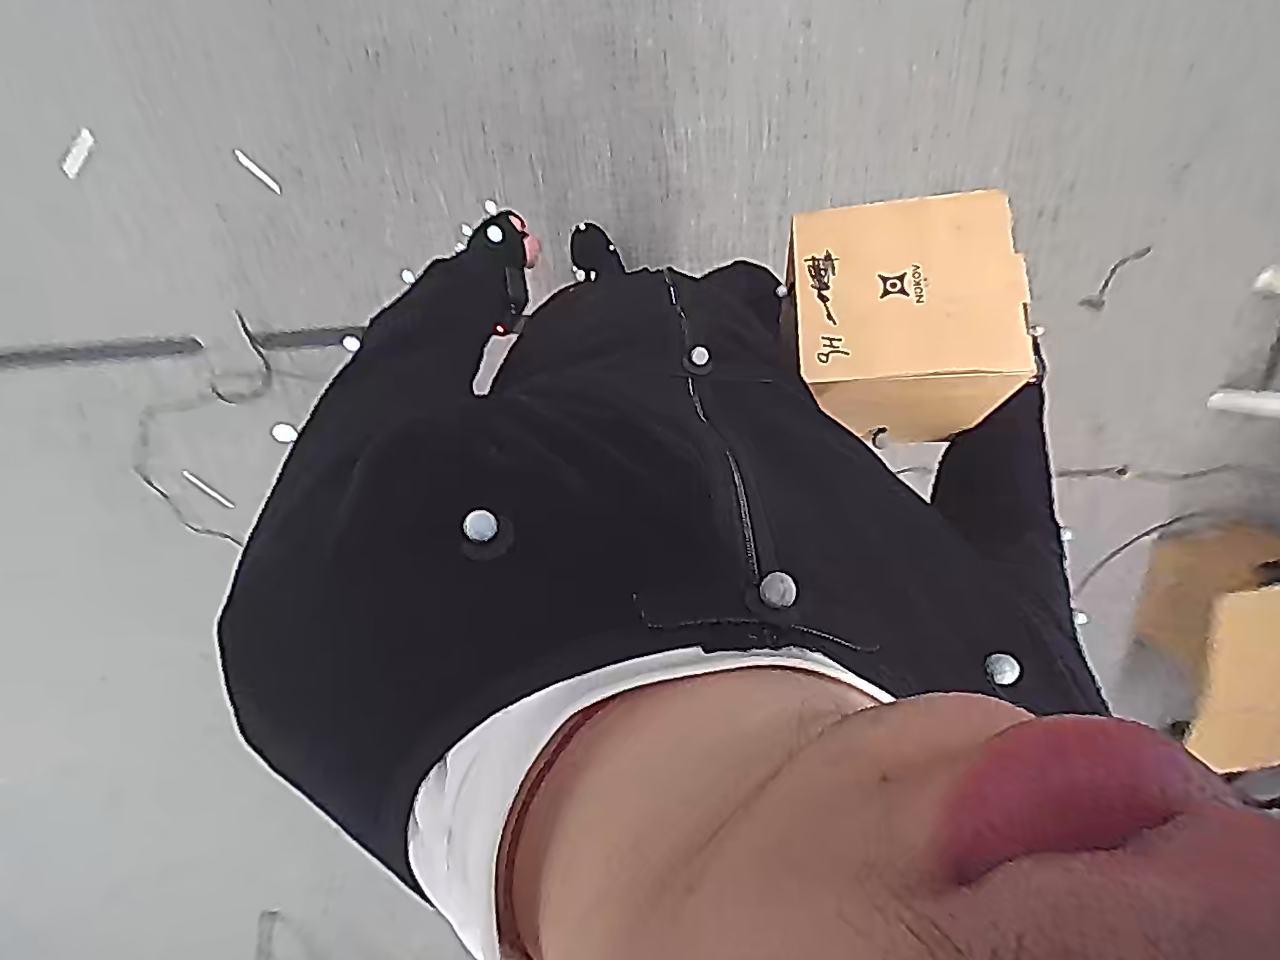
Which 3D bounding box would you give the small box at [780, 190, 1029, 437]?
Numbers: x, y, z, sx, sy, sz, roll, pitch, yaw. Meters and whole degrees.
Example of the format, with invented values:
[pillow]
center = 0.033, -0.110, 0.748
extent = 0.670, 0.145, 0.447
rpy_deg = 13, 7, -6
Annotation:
[small box]
center = 0.236, -0.148, 0.534
extent = 0.179, 0.176, 0.168
rpy_deg = -2, 73, 11
